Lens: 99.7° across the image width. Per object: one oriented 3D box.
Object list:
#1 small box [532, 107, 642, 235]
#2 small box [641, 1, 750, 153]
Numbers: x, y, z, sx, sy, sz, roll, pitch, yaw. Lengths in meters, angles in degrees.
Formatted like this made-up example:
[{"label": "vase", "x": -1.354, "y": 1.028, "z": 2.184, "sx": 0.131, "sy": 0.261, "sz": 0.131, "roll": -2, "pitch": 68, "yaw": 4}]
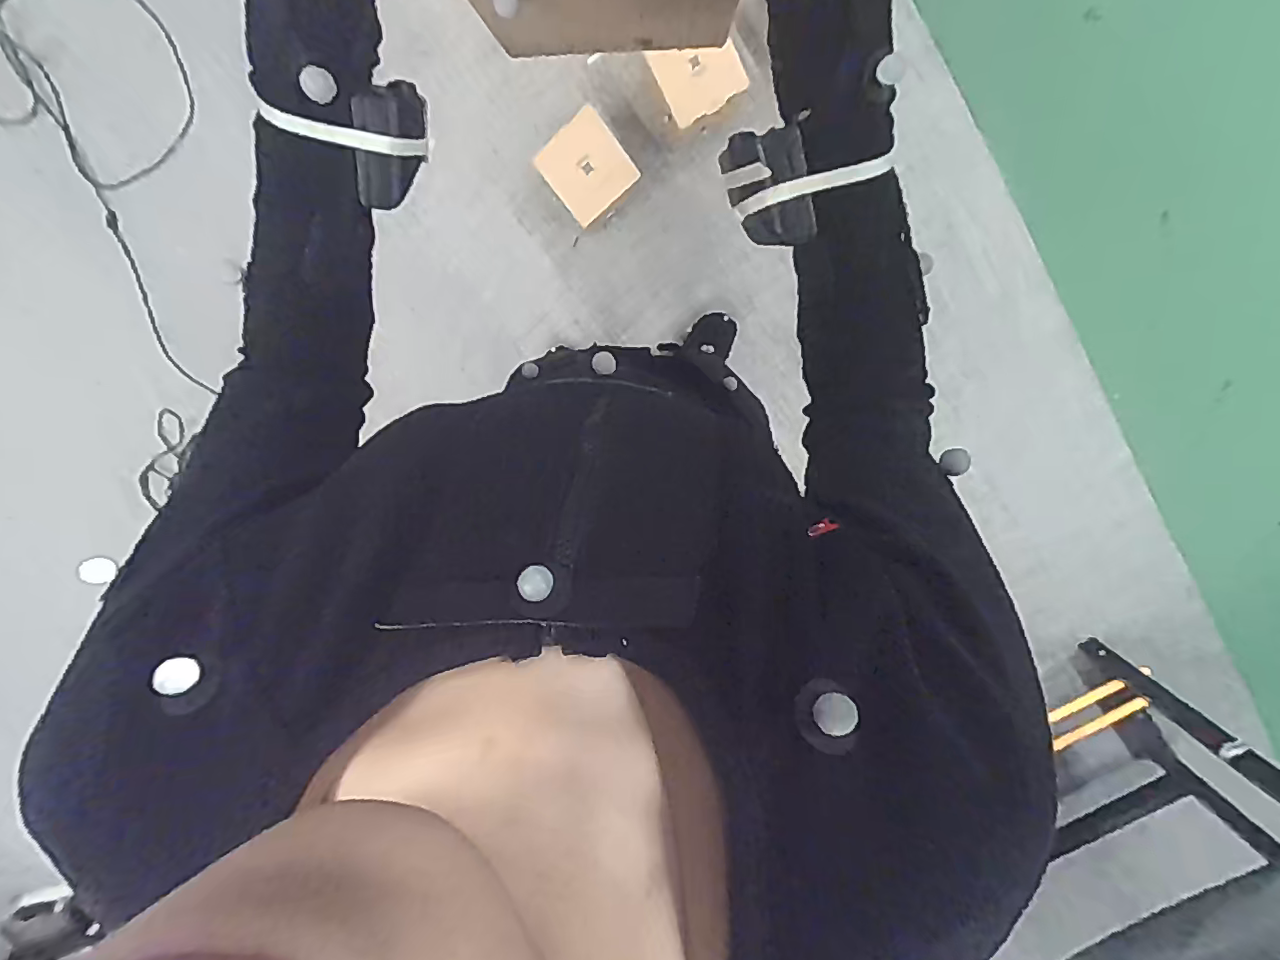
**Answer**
[{"label": "small box", "x": -0.113, "y": -0.675, "z": 1.210, "sx": 0.168, "sy": 0.176, "sz": 0.179, "roll": -38, "pitch": 106, "yaw": 12}, {"label": "small box", "x": 0.110, "y": -0.848, "z": 1.160, "sx": 0.168, "sy": 0.176, "sz": 0.179, "roll": -30, "pitch": 106, "yaw": 8}]
